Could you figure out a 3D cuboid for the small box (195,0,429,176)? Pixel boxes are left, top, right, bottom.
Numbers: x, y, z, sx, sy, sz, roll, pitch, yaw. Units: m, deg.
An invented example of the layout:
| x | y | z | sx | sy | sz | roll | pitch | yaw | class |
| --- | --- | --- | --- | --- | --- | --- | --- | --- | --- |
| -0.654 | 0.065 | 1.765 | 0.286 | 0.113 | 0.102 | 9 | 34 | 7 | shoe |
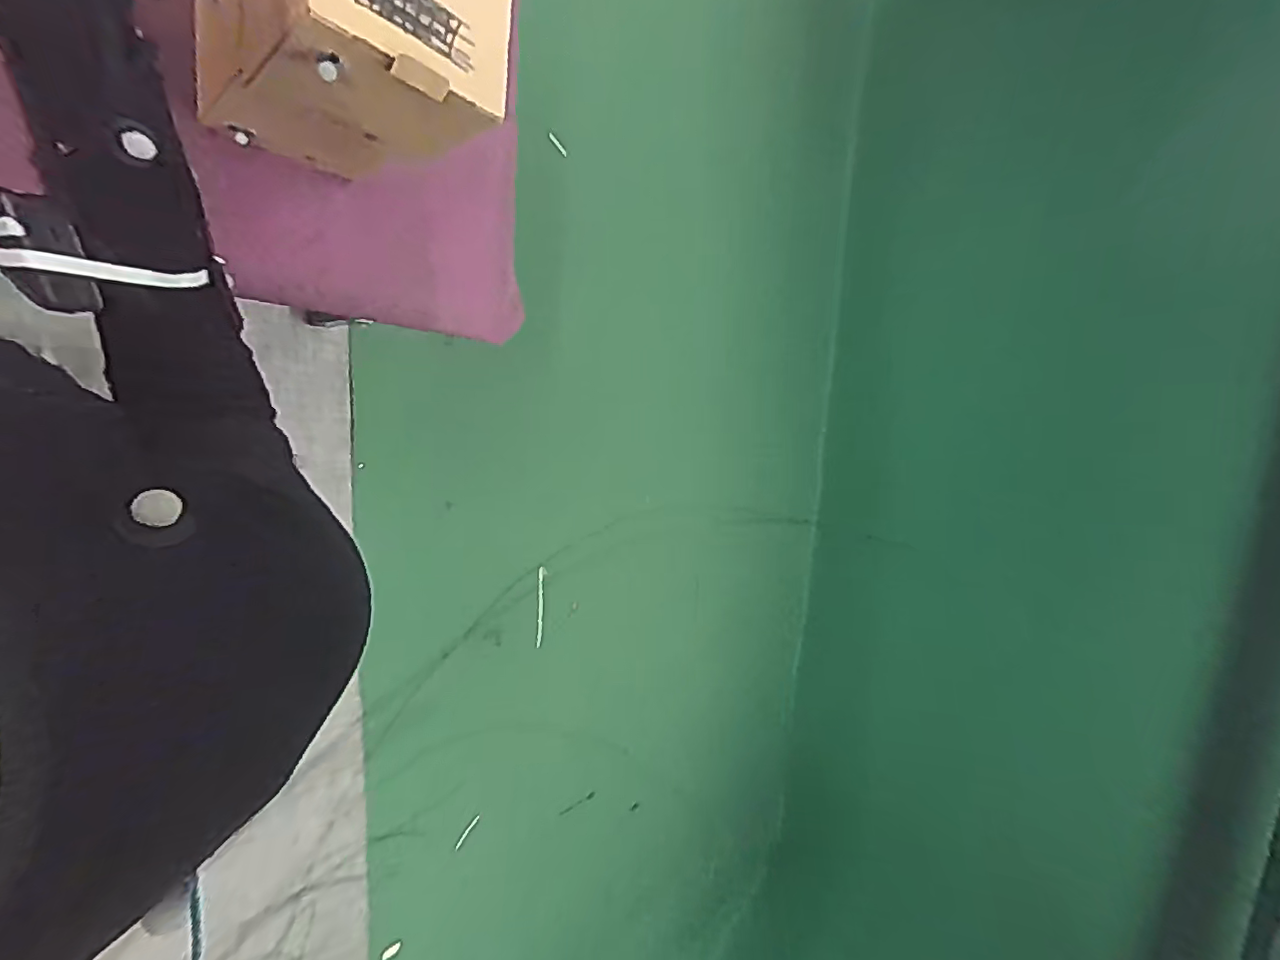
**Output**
| x | y | z | sx | sy | sz | roll | pitch | yaw | class |
| --- | --- | --- | --- | --- | --- | --- | --- | --- | --- |
| -0.355 | -0.460 | 0.584 | 0.168 | 0.176 | 0.179 | 0 | 99 | -52 | small box |
